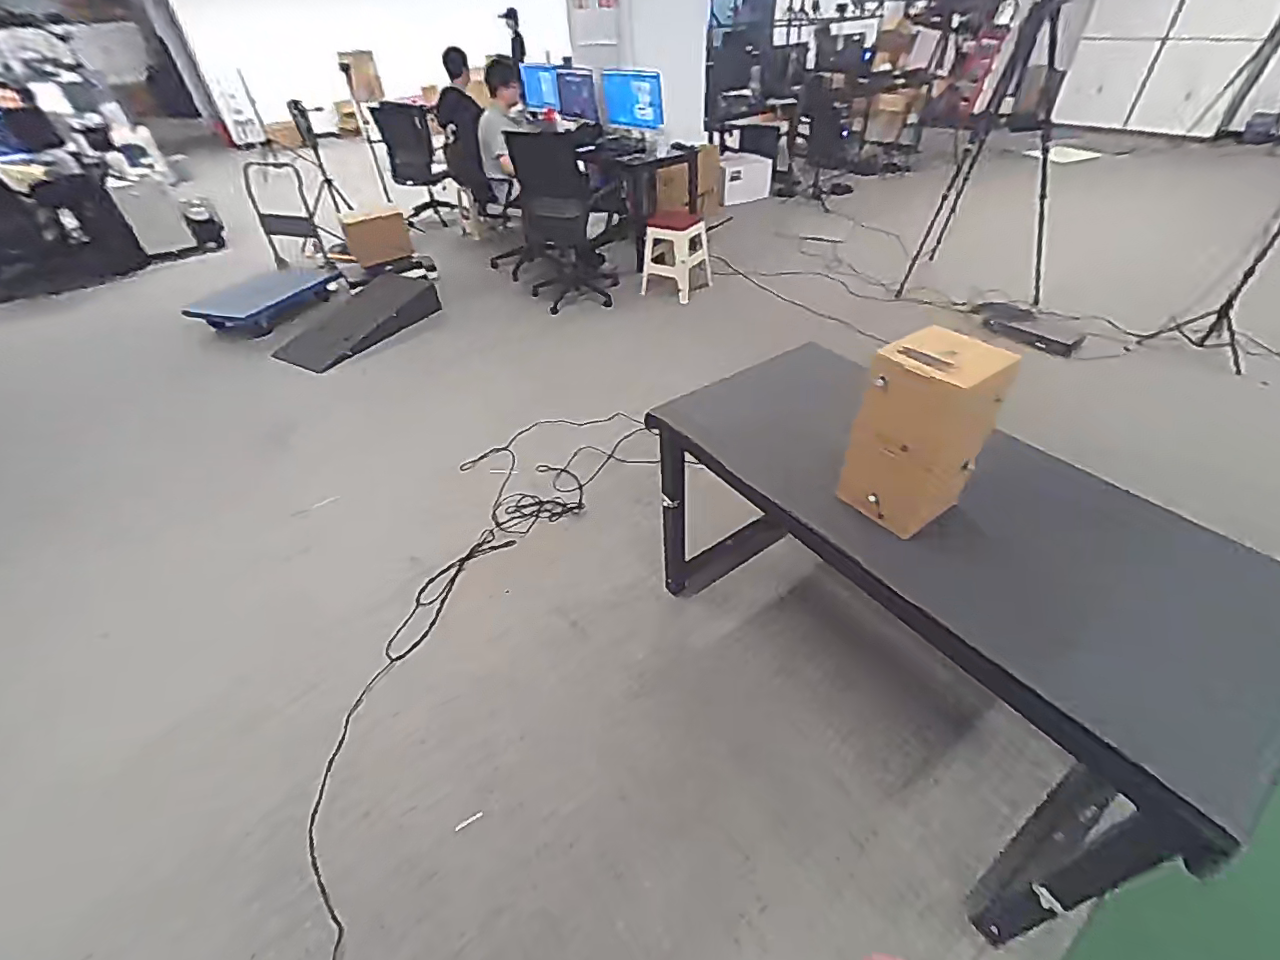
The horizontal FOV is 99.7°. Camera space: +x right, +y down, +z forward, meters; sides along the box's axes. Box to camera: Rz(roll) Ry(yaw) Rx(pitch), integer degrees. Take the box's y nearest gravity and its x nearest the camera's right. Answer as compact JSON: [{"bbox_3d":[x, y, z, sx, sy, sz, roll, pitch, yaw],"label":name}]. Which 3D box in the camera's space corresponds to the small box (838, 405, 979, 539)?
[{"bbox_3d":[0.520,-0.017,1.073,0.179,0.176,0.168,-27,46,-25],"label":"small box"}]
